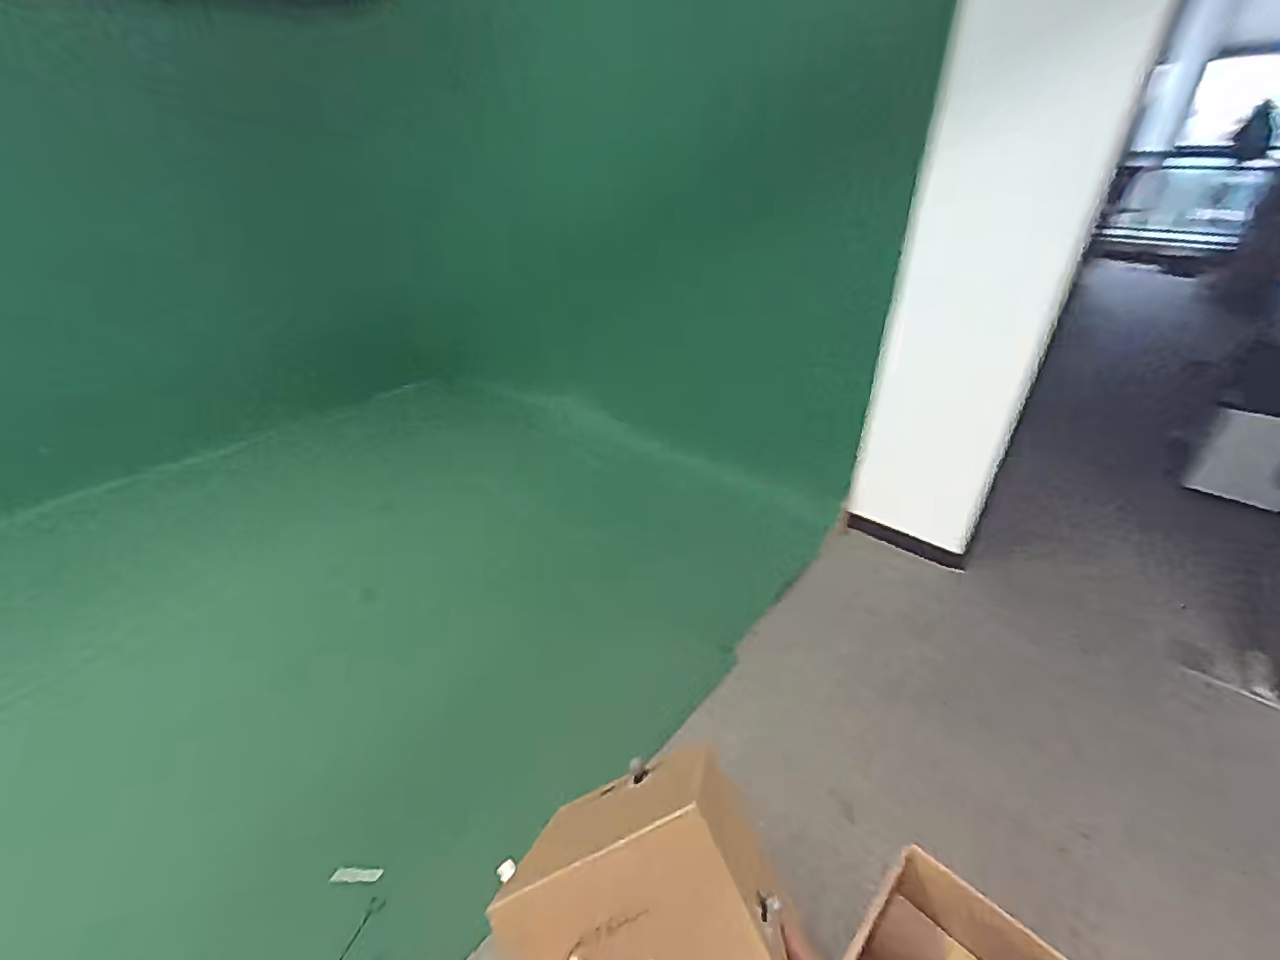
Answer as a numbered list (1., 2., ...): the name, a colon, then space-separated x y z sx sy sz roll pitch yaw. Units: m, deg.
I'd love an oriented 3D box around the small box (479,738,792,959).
1. small box: 0.011 0.340 0.424 0.168 0.176 0.179 -29 77 3
